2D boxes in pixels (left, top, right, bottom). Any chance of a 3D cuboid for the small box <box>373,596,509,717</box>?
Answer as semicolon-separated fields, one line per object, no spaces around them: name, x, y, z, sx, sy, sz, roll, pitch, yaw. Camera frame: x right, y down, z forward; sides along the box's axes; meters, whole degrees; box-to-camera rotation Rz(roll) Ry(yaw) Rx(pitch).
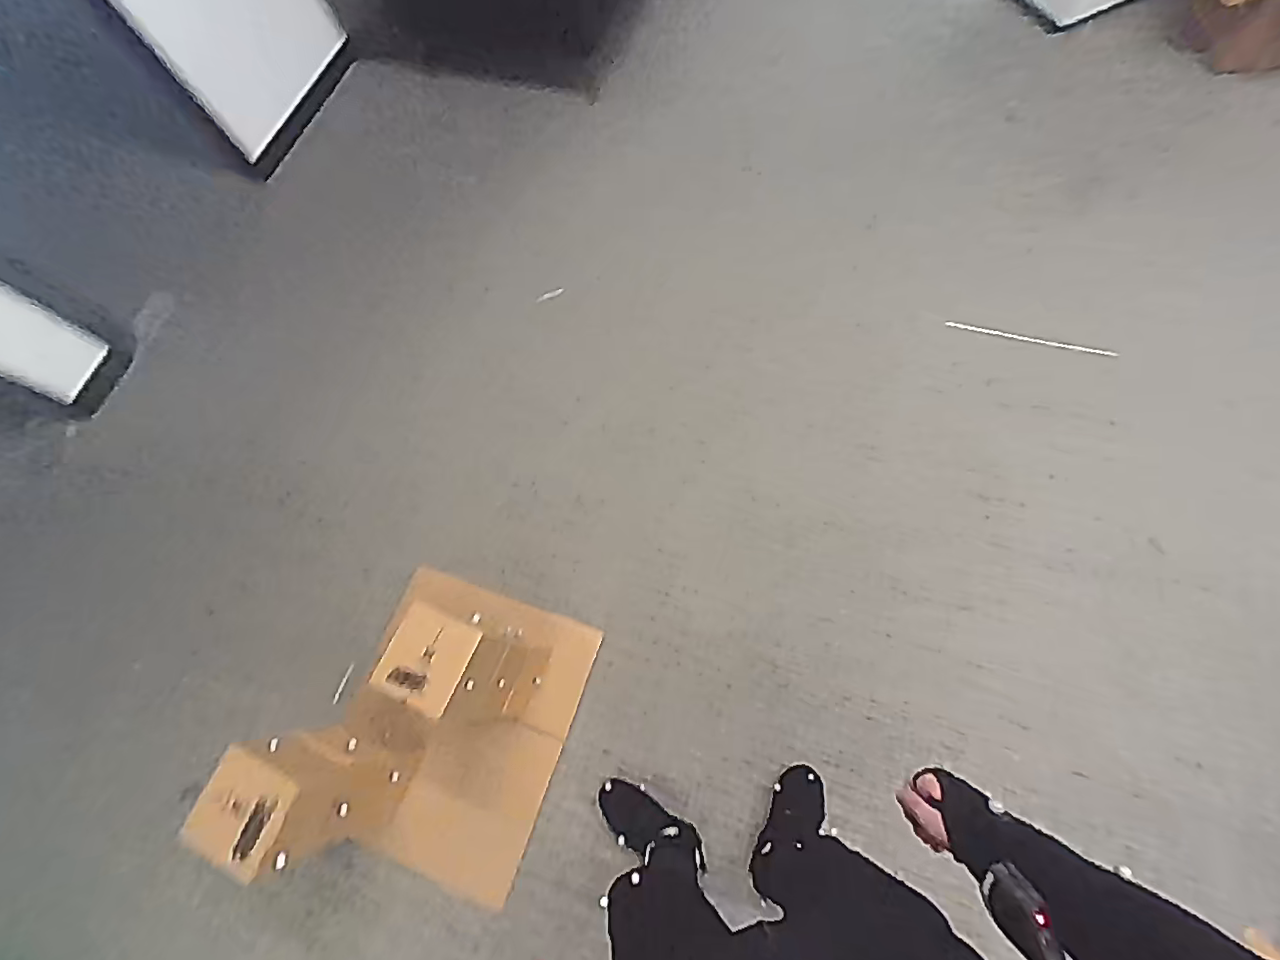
small box;-0.394;0.361;1.110;0.168;0.176;0.179;22;74;13

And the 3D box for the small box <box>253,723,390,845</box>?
small box;-0.696;0.664;1.209;0.168;0.176;0.179;19;74;13

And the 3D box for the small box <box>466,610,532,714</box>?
small box;-0.375;0.421;1.261;0.168;0.176;0.179;23;74;14

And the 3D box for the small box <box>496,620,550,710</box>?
small box;-0.352;0.478;1.413;0.168;0.176;0.179;20;73;14

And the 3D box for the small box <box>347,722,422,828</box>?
small box;-0.679;0.726;1.358;0.168;0.176;0.179;18;73;14
